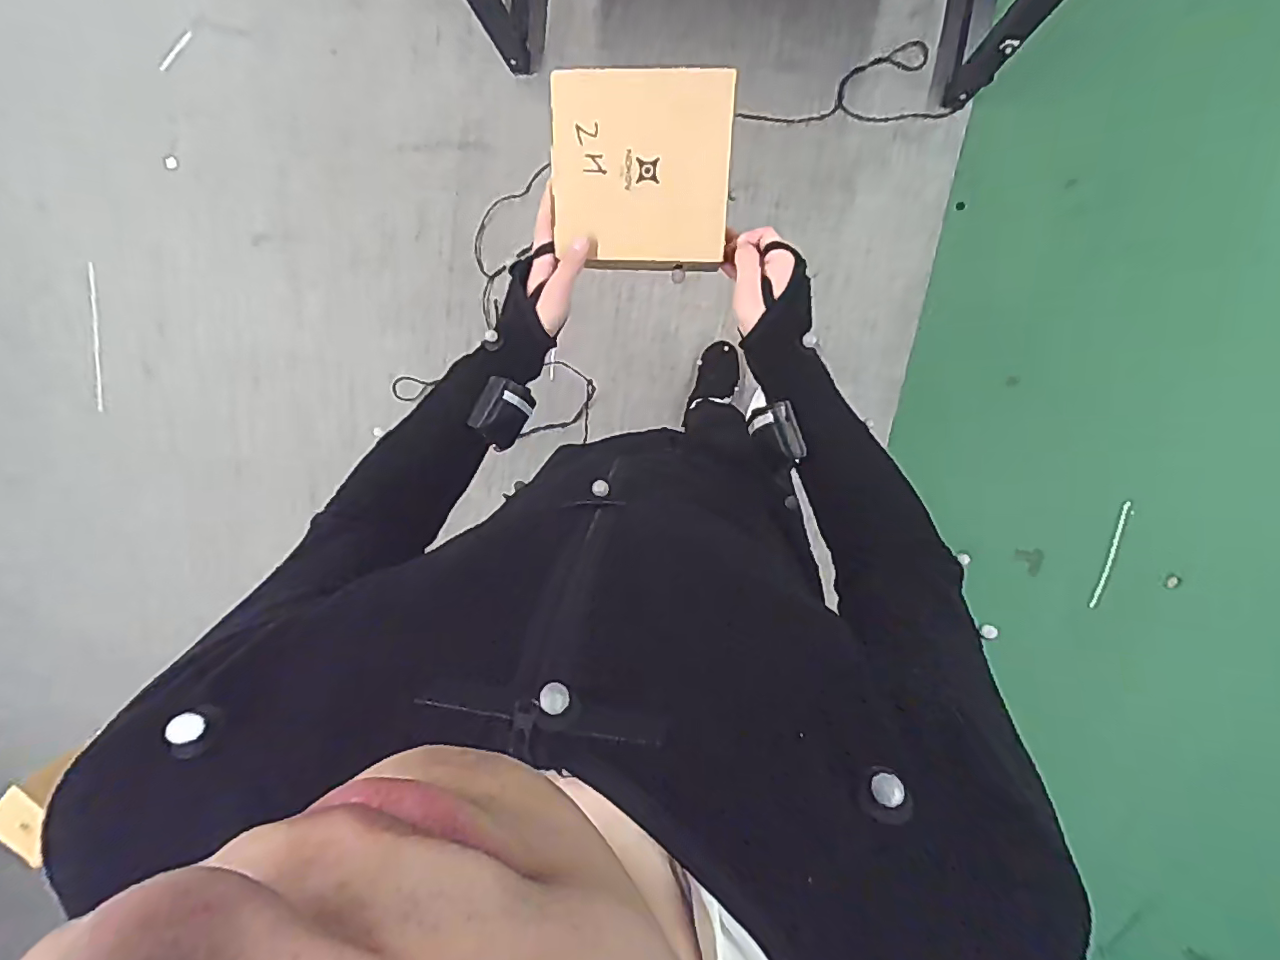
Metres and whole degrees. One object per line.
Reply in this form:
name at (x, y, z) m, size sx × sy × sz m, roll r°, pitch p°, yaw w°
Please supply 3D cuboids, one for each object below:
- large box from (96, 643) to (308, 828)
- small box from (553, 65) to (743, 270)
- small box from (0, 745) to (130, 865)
large box at (-1.439, 0.832, 1.805) m, size 0.408 × 0.320 × 0.320 m, roll 40°, pitch 103°, yaw -3°
small box at (0.011, -0.323, 0.591) m, size 0.179 × 0.176 × 0.168 m, roll 4°, pitch 109°, yaw 5°
small box at (-1.495, 0.821, 1.391) m, size 0.179 × 0.176 × 0.168 m, roll 44°, pitch 101°, yaw -4°
